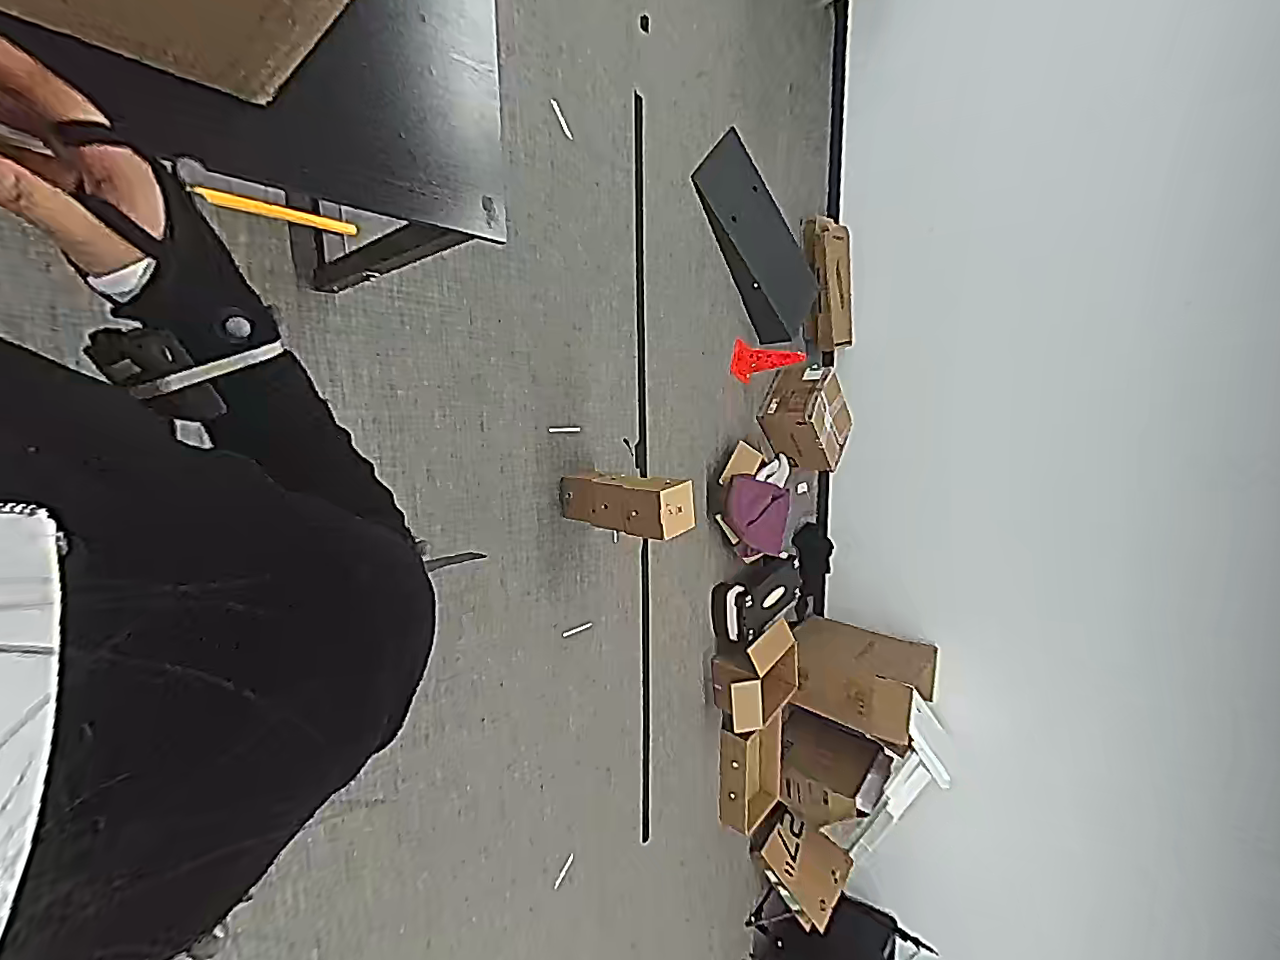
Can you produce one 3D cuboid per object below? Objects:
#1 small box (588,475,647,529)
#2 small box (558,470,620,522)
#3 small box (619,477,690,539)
[{"bbox_3d":[-0.076,0.075,1.933,0.179,0.176,0.168,-11,102,-48],"label":"small box"},{"bbox_3d":[-0.190,0.056,2.050,0.179,0.176,0.168,-12,103,-47],"label":"small box"},{"bbox_3d":[0.049,0.087,1.824,0.179,0.176,0.168,-18,107,-47],"label":"small box"}]
